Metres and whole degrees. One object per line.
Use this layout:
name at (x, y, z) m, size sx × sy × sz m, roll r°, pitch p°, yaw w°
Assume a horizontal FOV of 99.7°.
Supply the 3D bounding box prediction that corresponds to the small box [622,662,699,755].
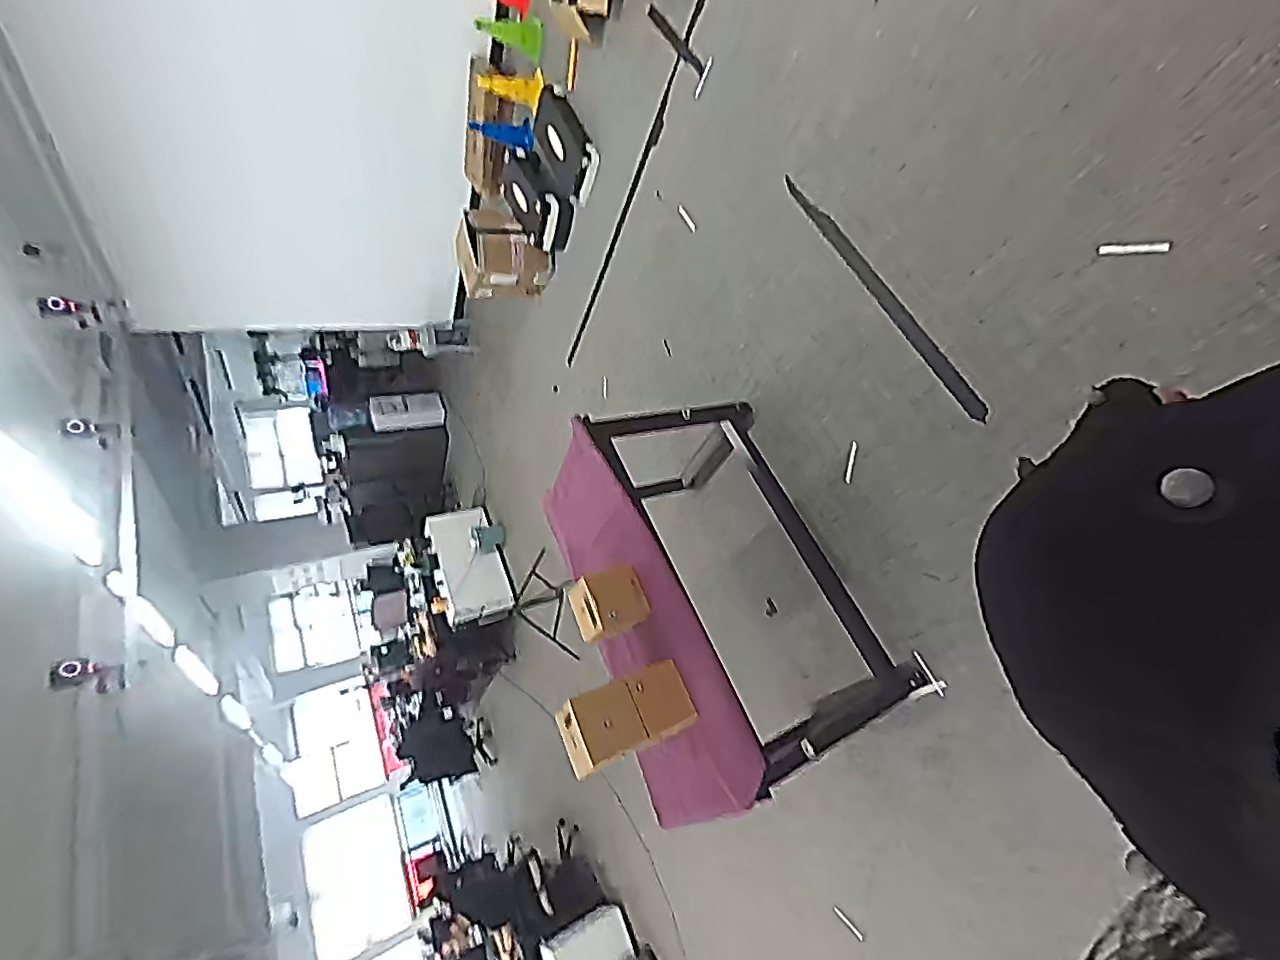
small box at (0.041, 0.645, 1.539) m, size 0.179 × 0.176 × 0.168 m, roll 62°, pitch 145°, yaw 27°

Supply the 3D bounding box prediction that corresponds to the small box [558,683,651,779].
small box at (-0.097, 0.667, 1.452) m, size 0.179 × 0.176 × 0.168 m, roll 62°, pitch 145°, yaw 27°
